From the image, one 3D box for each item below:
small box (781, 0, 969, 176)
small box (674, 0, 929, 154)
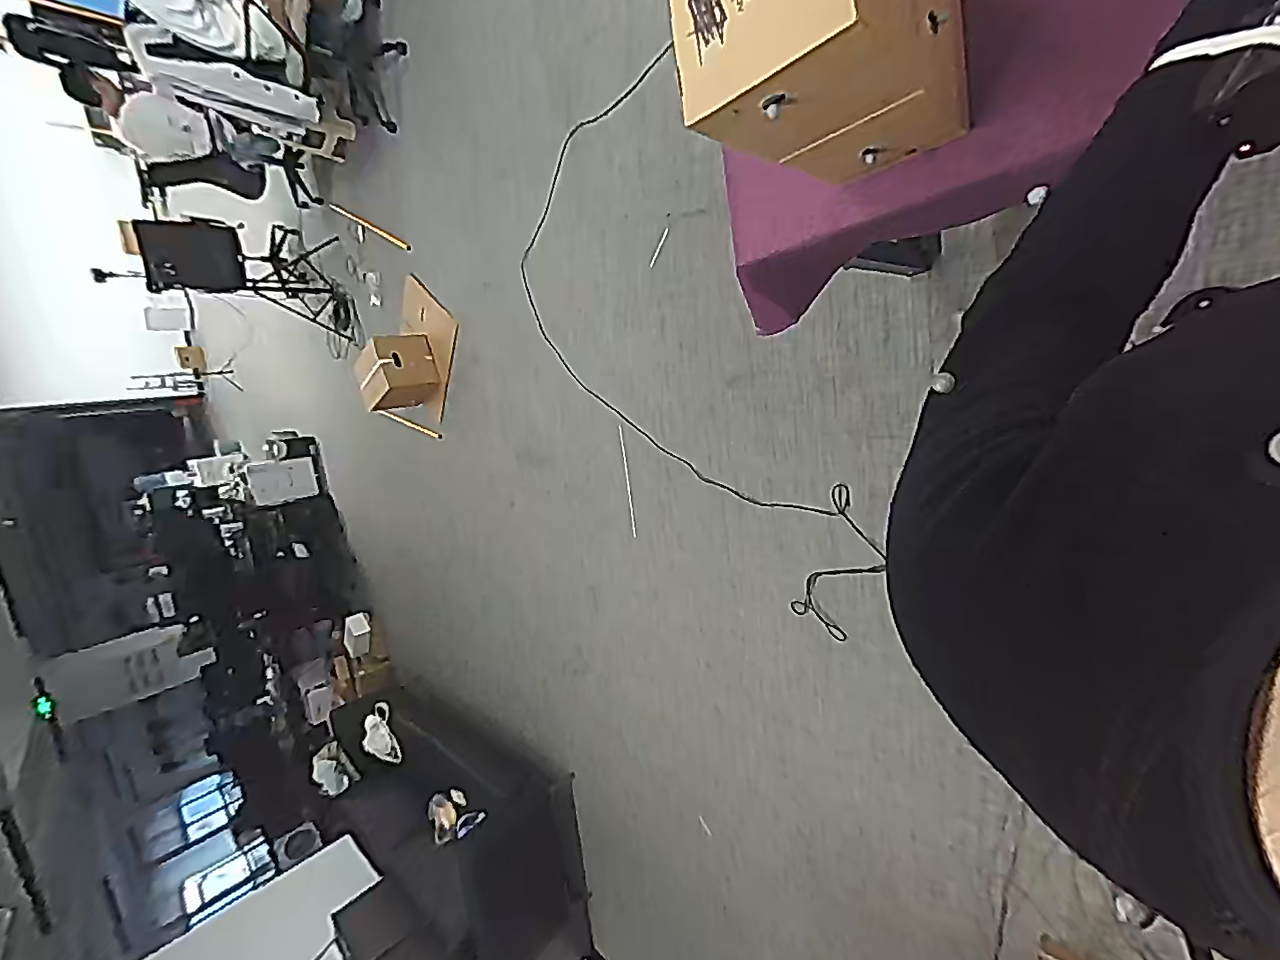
[{"bbox_3d":[0.271,-0.483,0.637,0.168,0.176,0.179,-1,101,45],"label":"small box"},{"bbox_3d":[0.155,-0.450,0.525,0.179,0.176,0.168,-1,101,45],"label":"small box"}]
